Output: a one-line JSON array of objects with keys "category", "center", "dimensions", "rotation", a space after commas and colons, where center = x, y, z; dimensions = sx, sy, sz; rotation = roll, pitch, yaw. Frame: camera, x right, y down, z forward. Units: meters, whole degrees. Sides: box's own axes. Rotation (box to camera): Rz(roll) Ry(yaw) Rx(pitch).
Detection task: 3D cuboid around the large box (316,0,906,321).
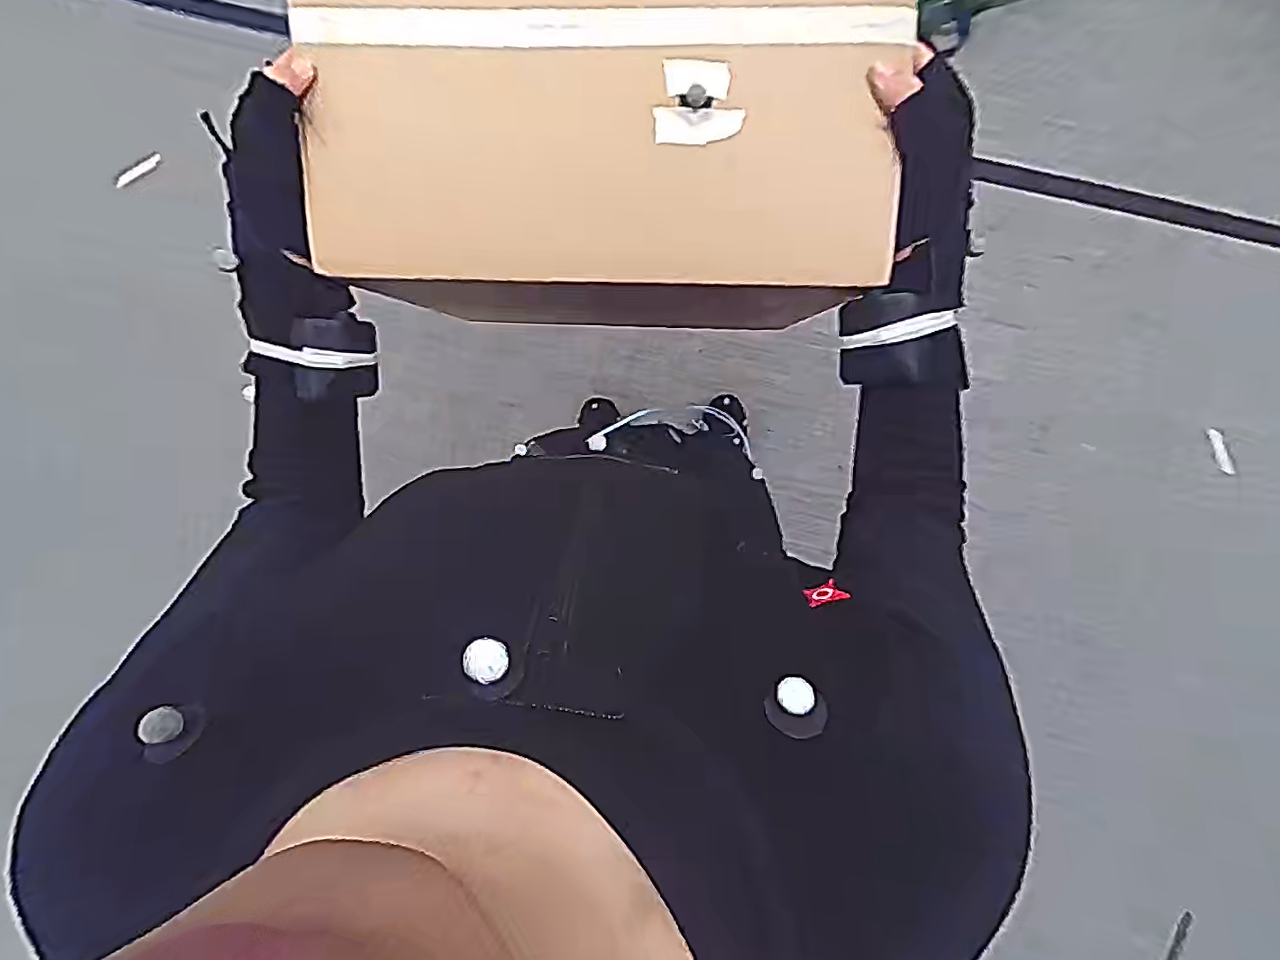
[{"category": "large box", "center": [-0.021, -0.326, 0.510], "dimensions": [0.408, 0.320, 0.320], "rotation": [2, 101, 1]}]
